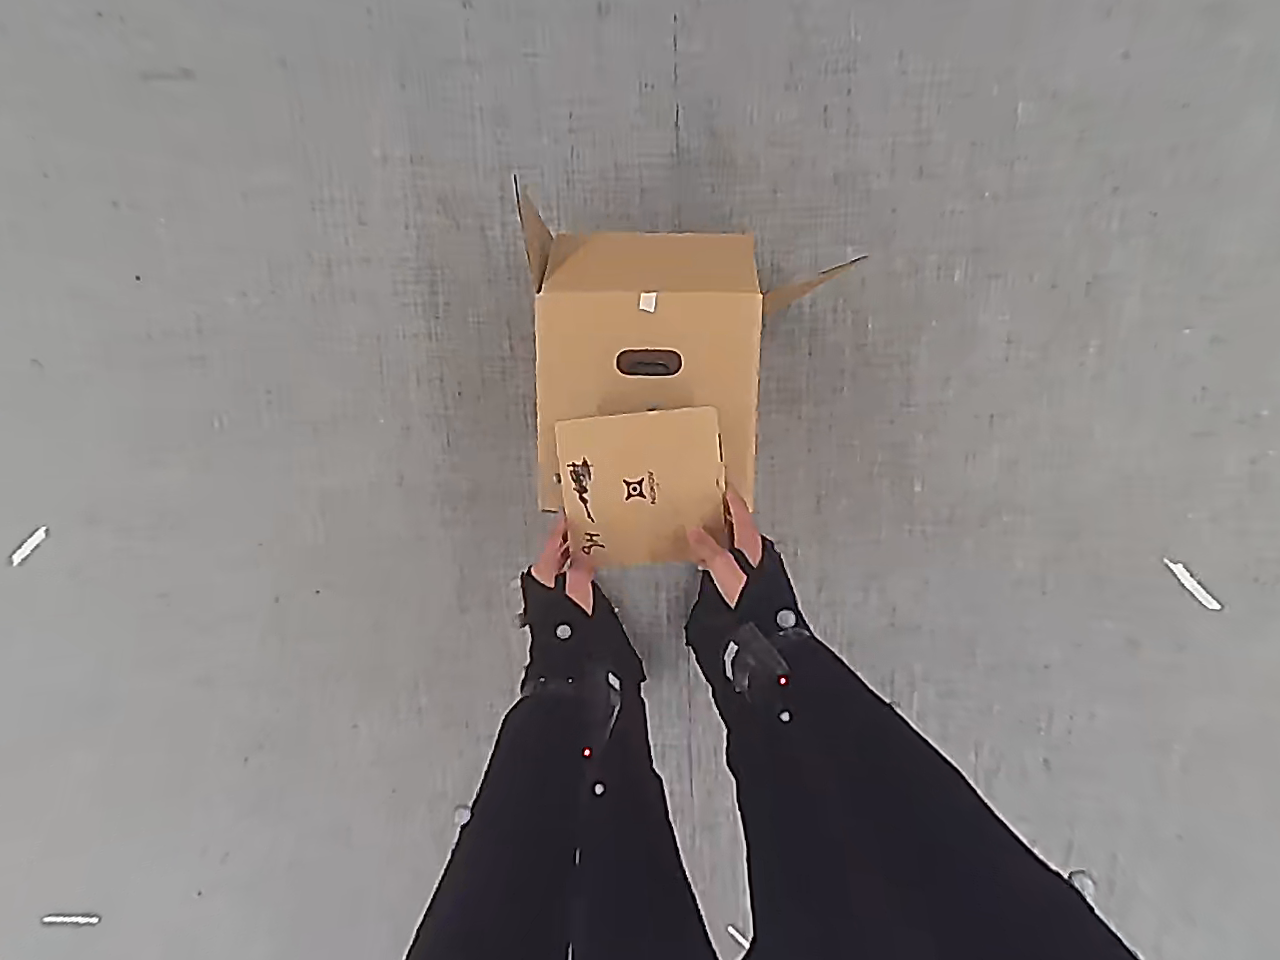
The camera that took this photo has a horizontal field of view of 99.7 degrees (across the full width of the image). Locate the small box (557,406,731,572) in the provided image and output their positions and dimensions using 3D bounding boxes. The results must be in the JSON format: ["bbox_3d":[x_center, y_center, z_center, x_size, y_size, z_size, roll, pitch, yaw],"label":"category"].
[{"bbox_3d":[0.007,0.001,0.651,0.179,0.176,0.168,-5,98,3],"label":"small box"}]
